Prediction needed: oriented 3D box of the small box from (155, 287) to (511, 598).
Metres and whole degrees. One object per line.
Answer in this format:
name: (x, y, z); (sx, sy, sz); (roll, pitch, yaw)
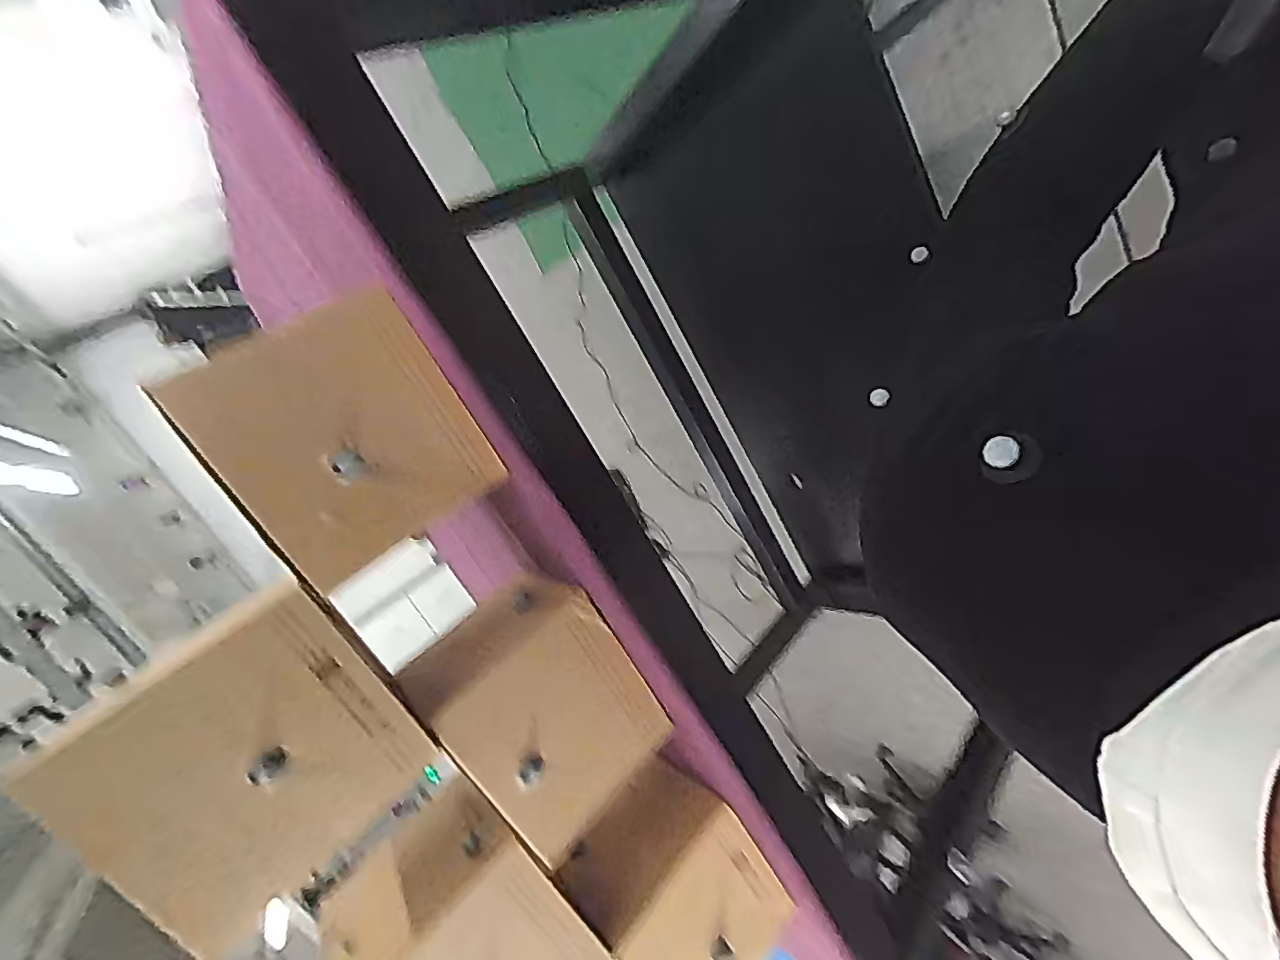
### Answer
small box: (-0.239, -0.028, 0.456); (0.168, 0.176, 0.179); (-10, 117, 57)

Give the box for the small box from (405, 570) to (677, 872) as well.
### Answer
small box: (-0.095, 0.214, 0.530); (0.168, 0.176, 0.179); (-7, 118, 57)

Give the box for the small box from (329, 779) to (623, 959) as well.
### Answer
small box: (-0.146, 0.414, 0.490); (0.179, 0.176, 0.168); (58, 151, -13)

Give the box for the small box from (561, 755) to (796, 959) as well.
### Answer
small box: (0.044, 0.442, 0.594); (0.179, 0.176, 0.168); (-9, 116, 59)

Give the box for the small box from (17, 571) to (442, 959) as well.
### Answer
small box: (-0.278, 0.186, 0.415); (0.179, 0.176, 0.168); (-9, 116, 58)
